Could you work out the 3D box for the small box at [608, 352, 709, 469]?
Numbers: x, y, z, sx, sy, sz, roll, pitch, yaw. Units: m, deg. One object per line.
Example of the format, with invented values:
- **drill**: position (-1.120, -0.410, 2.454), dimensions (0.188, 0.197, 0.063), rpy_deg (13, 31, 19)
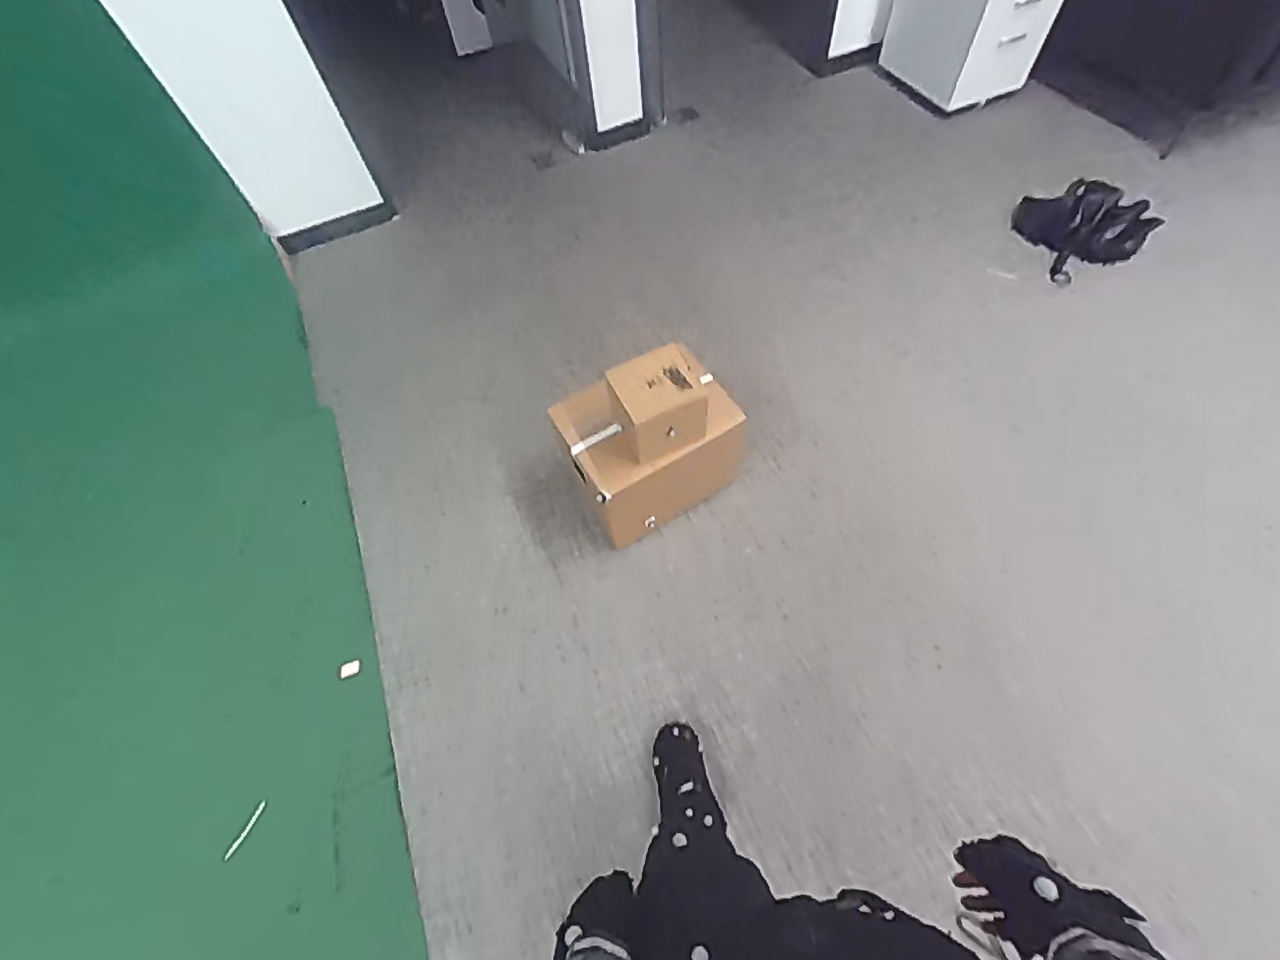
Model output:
- **small box**: position (0.042, -0.156, 1.248), dimensions (0.179, 0.176, 0.168), rpy_deg (-24, 61, -9)
